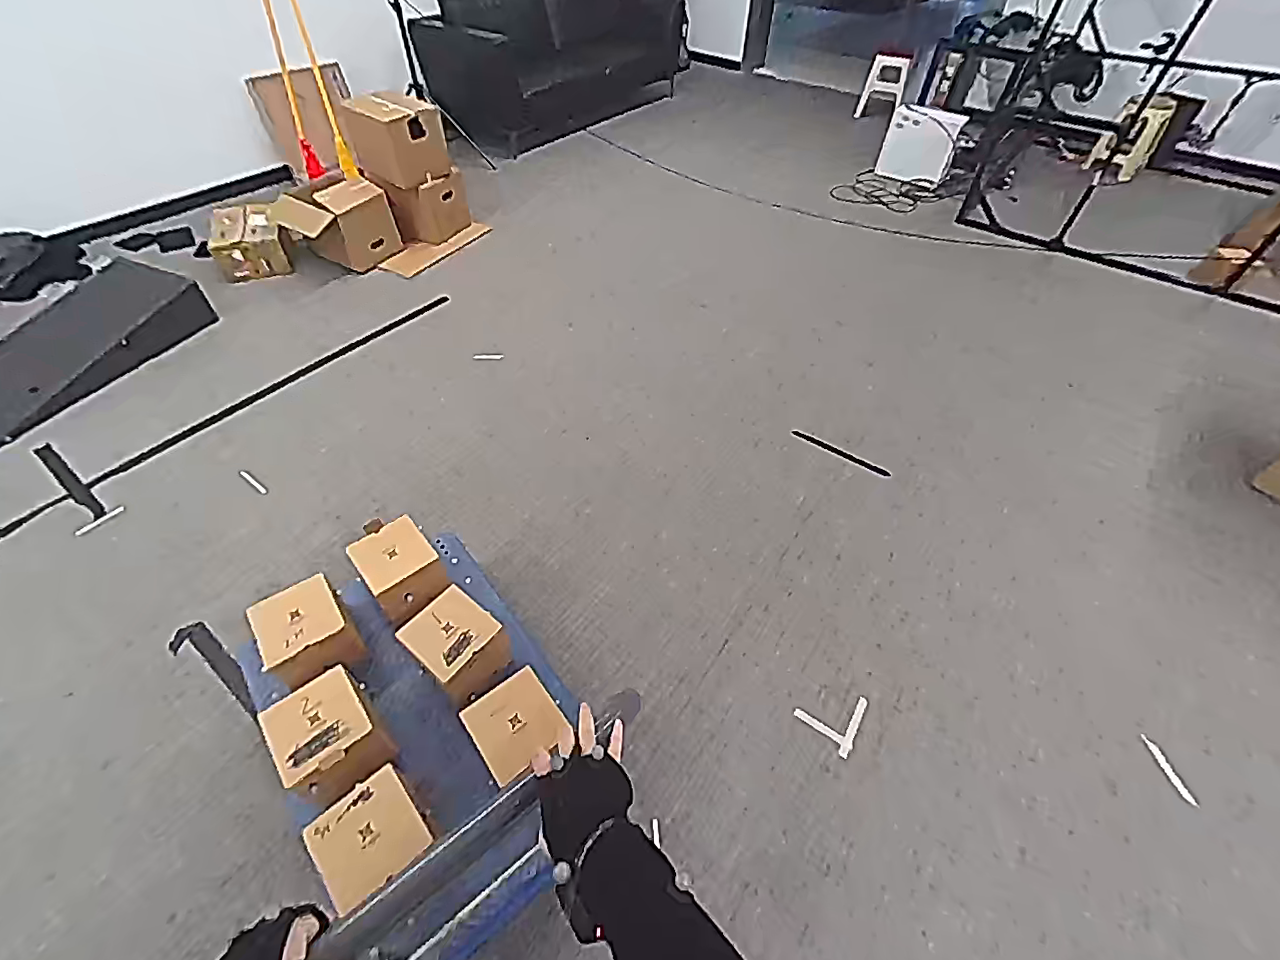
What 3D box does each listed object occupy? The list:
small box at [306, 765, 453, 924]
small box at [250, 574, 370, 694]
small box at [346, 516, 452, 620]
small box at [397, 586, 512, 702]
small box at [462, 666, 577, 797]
[{"bbox_3d":[-0.471,0.674,1.003,0.168,0.176,0.179,-34,59,-29],"label":"small box"},{"bbox_3d":[-0.763,0.361,1.259,0.168,0.176,0.179,-29,57,-25],"label":"small box"},{"bbox_3d":[-0.608,0.232,1.382,0.168,0.176,0.179,-34,59,-28],"label":"small box"},{"bbox_3d":[-0.421,0.387,1.257,0.179,0.176,0.168,31,54,23],"label":"small box"},{"bbox_3d":[-0.245,0.535,1.139,0.168,0.176,0.179,-30,56,-27],"label":"small box"}]
